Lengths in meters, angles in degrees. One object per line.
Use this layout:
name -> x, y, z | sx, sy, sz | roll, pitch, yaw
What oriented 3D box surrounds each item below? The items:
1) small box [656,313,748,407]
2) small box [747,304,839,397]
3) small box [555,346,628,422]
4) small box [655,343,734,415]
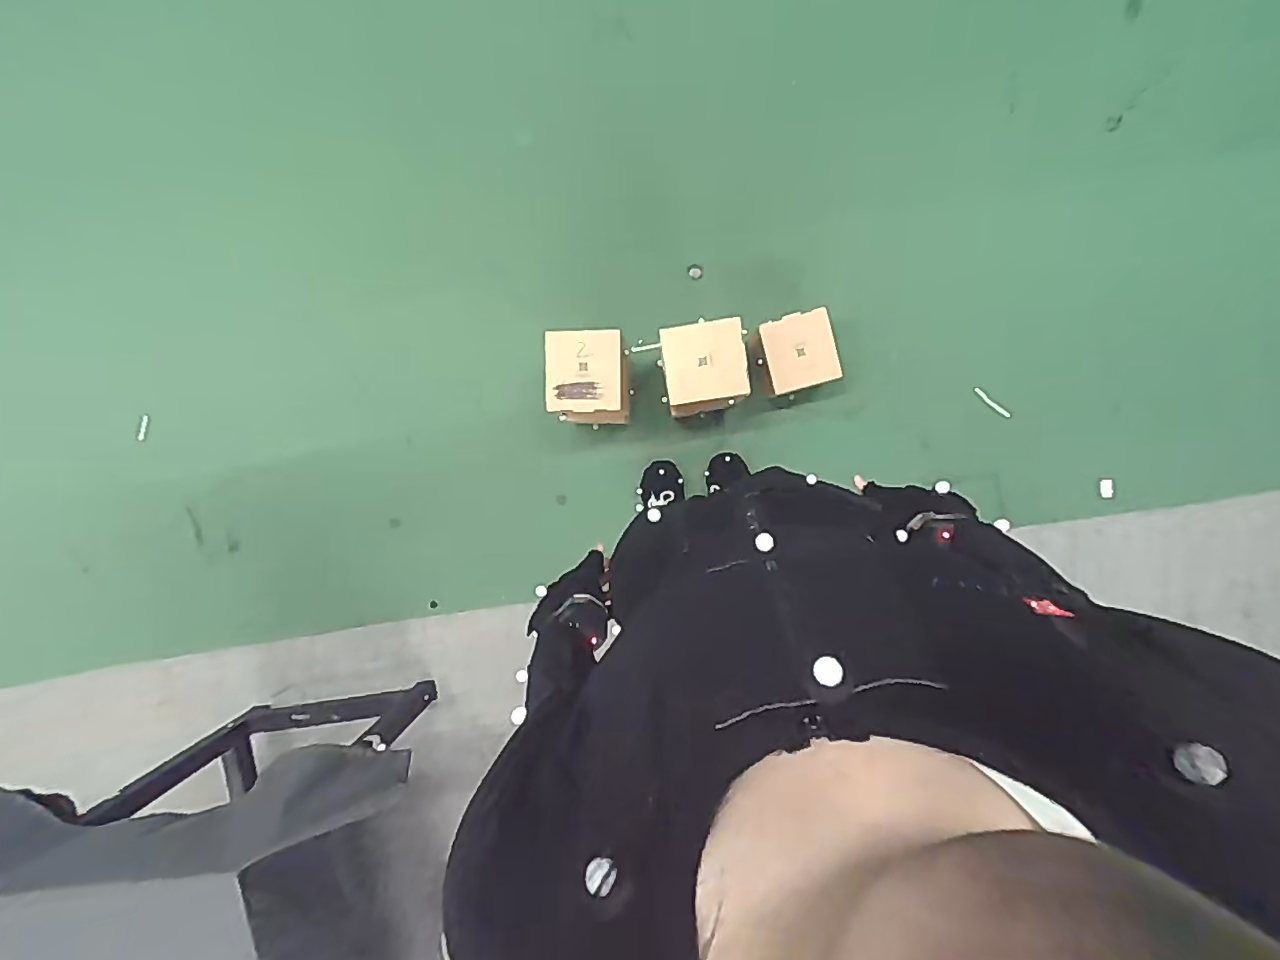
small box -> 0.135, -0.261, 1.213 | 0.179, 0.176, 0.168 | -9, 93, 3
small box -> 0.377, -0.319, 1.362 | 0.168, 0.176, 0.179 | -14, 93, 4
small box -> -0.121, -0.241, 1.391 | 0.168, 0.176, 0.179 | 2, 95, 3
small box -> 0.136, -0.265, 1.376 | 0.168, 0.176, 0.179 | -11, 93, 4
